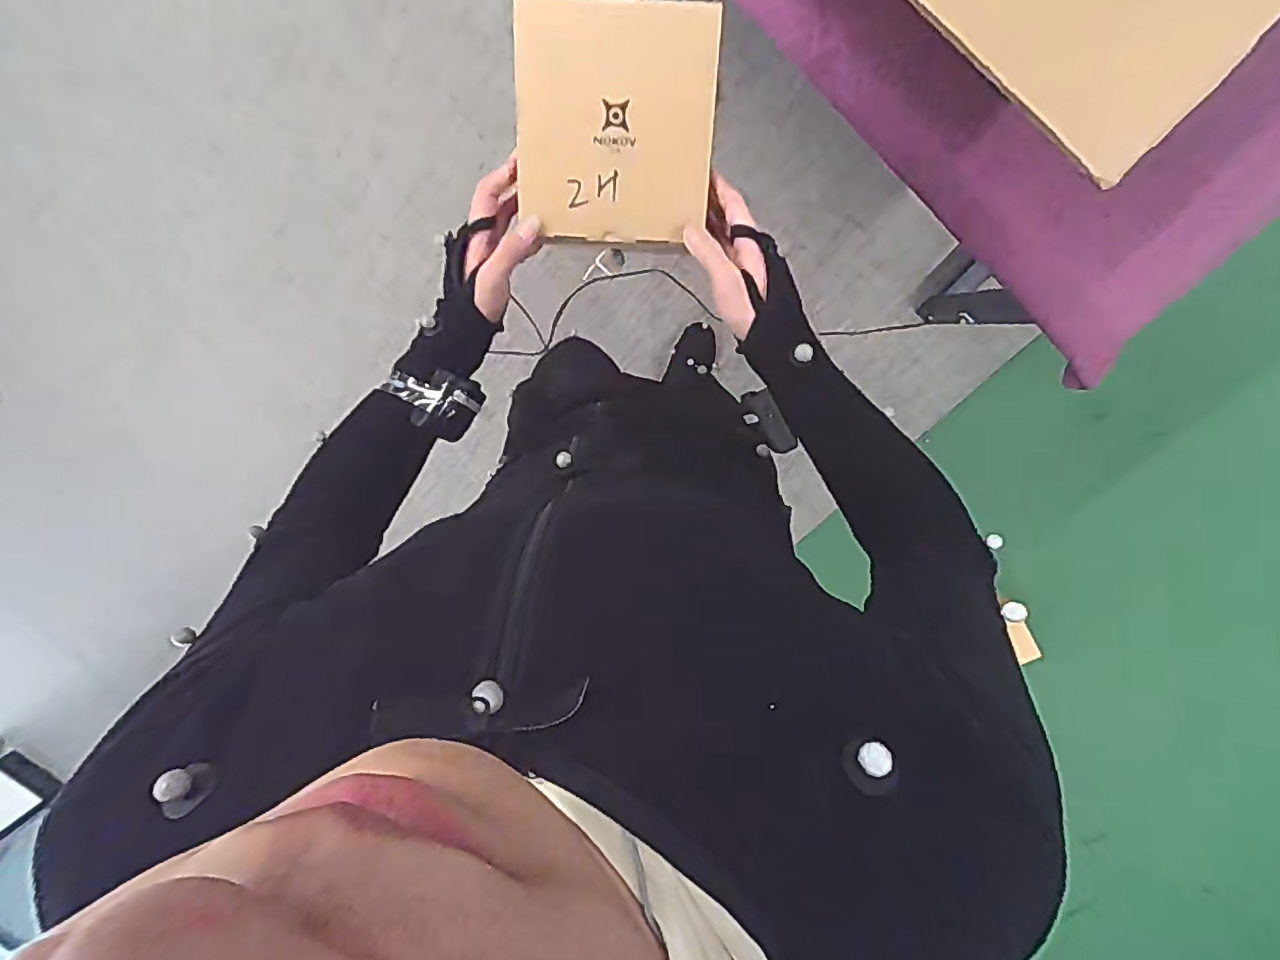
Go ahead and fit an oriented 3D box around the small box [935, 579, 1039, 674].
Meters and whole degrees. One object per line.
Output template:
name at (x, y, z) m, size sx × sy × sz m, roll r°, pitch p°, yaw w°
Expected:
small box at (1.001, 0.421, 1.573) m, size 0.168 × 0.176 × 0.179 m, roll -31°, pitch 100°, yaw 14°
